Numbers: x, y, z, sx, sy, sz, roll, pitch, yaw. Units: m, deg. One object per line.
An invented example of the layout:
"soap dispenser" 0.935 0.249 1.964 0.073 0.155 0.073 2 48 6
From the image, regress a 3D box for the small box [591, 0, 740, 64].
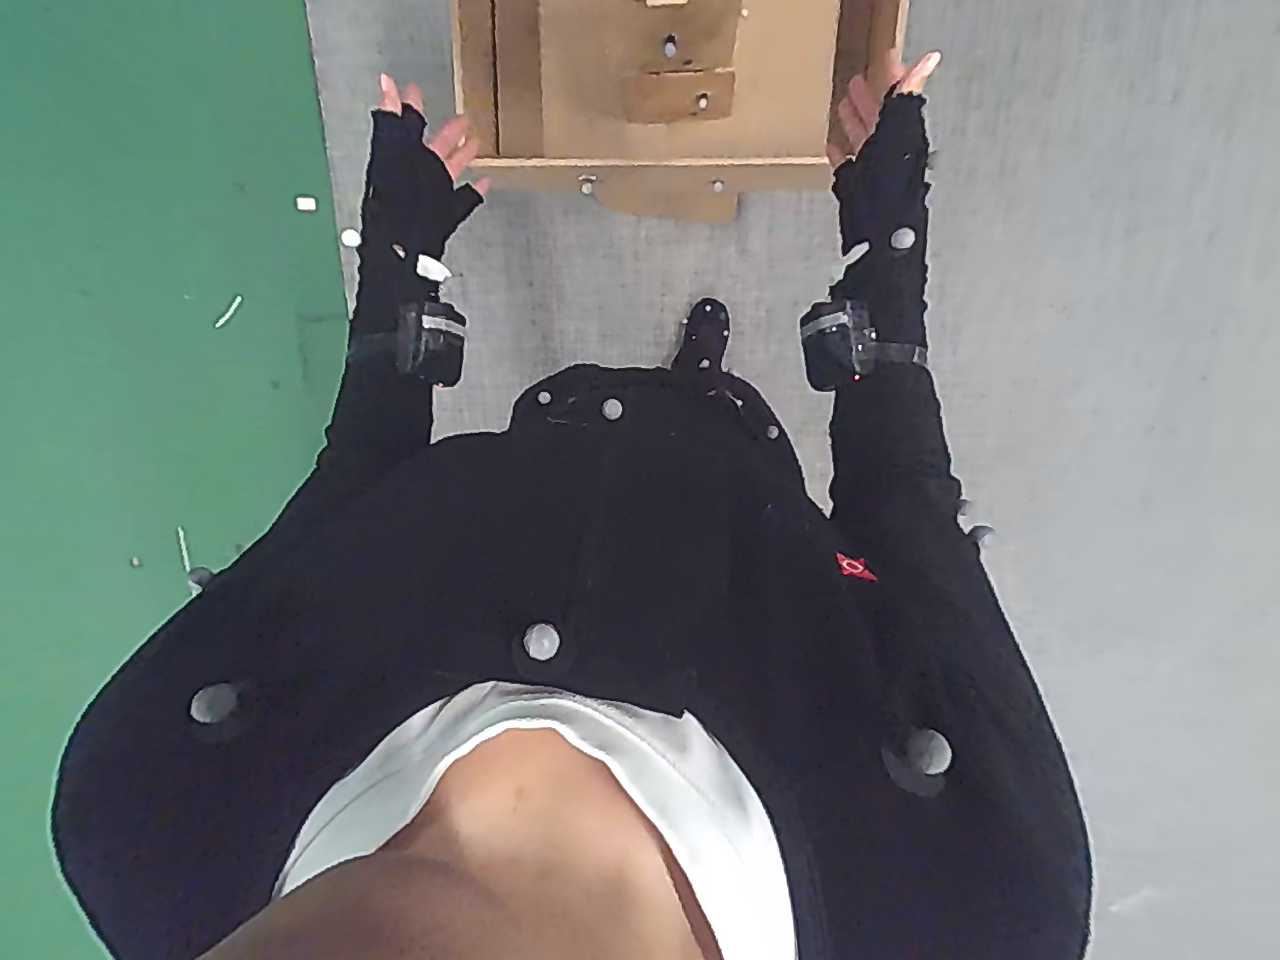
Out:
"small box" 0.035 -0.615 0.627 0.168 0.176 0.179 0 105 5

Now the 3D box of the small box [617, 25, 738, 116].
"small box" 0.057 -0.654 0.785 0.168 0.176 0.179 0 103 5
